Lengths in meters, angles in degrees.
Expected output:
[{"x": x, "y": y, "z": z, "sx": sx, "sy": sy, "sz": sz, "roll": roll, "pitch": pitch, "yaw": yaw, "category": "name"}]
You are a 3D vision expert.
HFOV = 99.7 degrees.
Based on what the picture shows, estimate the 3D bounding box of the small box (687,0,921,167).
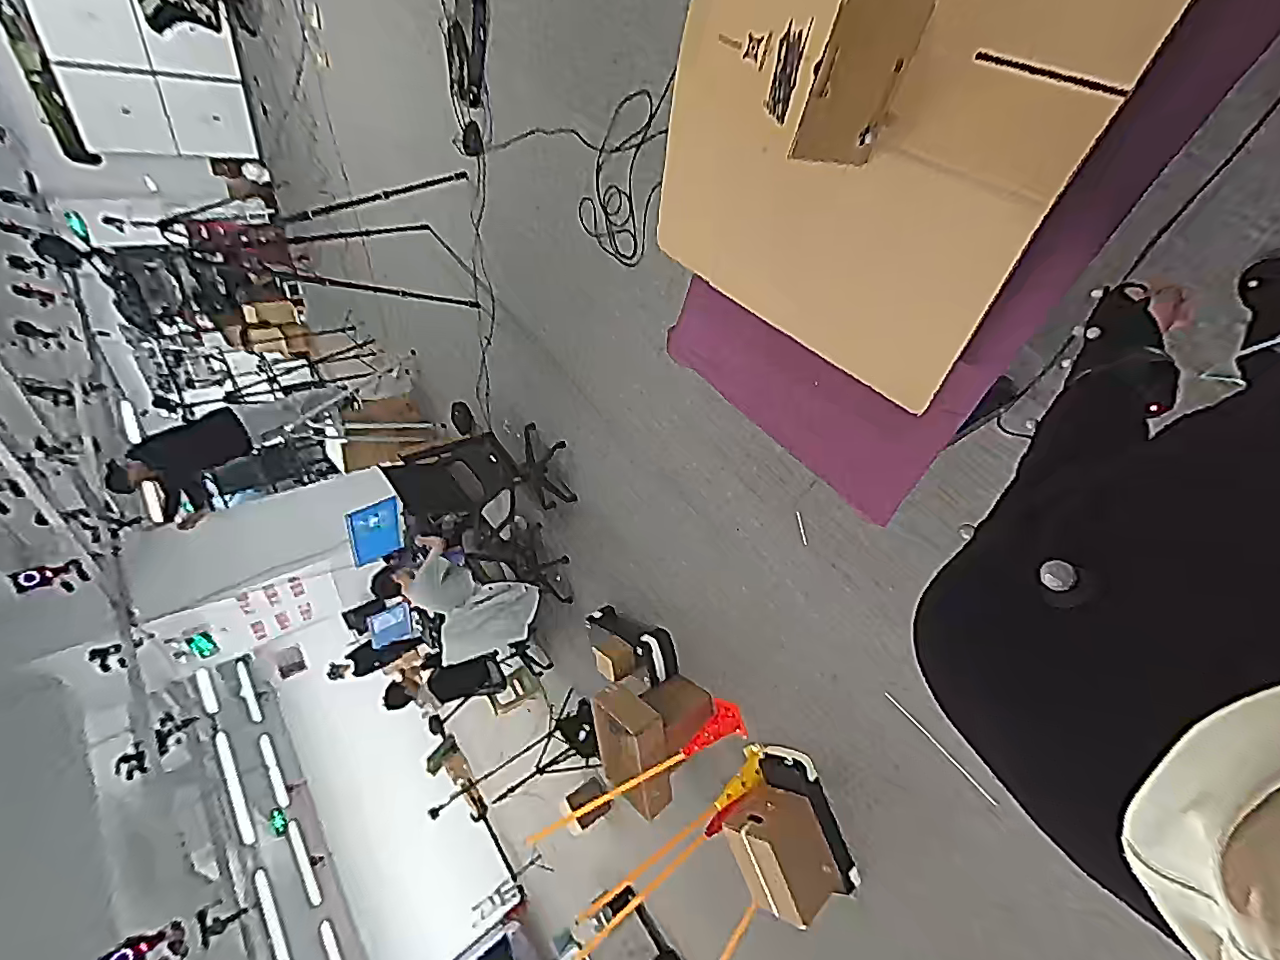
[{"x": 0.191, "y": -0.489, "z": 0.643, "sx": 0.179, "sy": 0.176, "sz": 0.168, "roll": 45, "pitch": 137, "yaw": 30, "category": "small box"}]
